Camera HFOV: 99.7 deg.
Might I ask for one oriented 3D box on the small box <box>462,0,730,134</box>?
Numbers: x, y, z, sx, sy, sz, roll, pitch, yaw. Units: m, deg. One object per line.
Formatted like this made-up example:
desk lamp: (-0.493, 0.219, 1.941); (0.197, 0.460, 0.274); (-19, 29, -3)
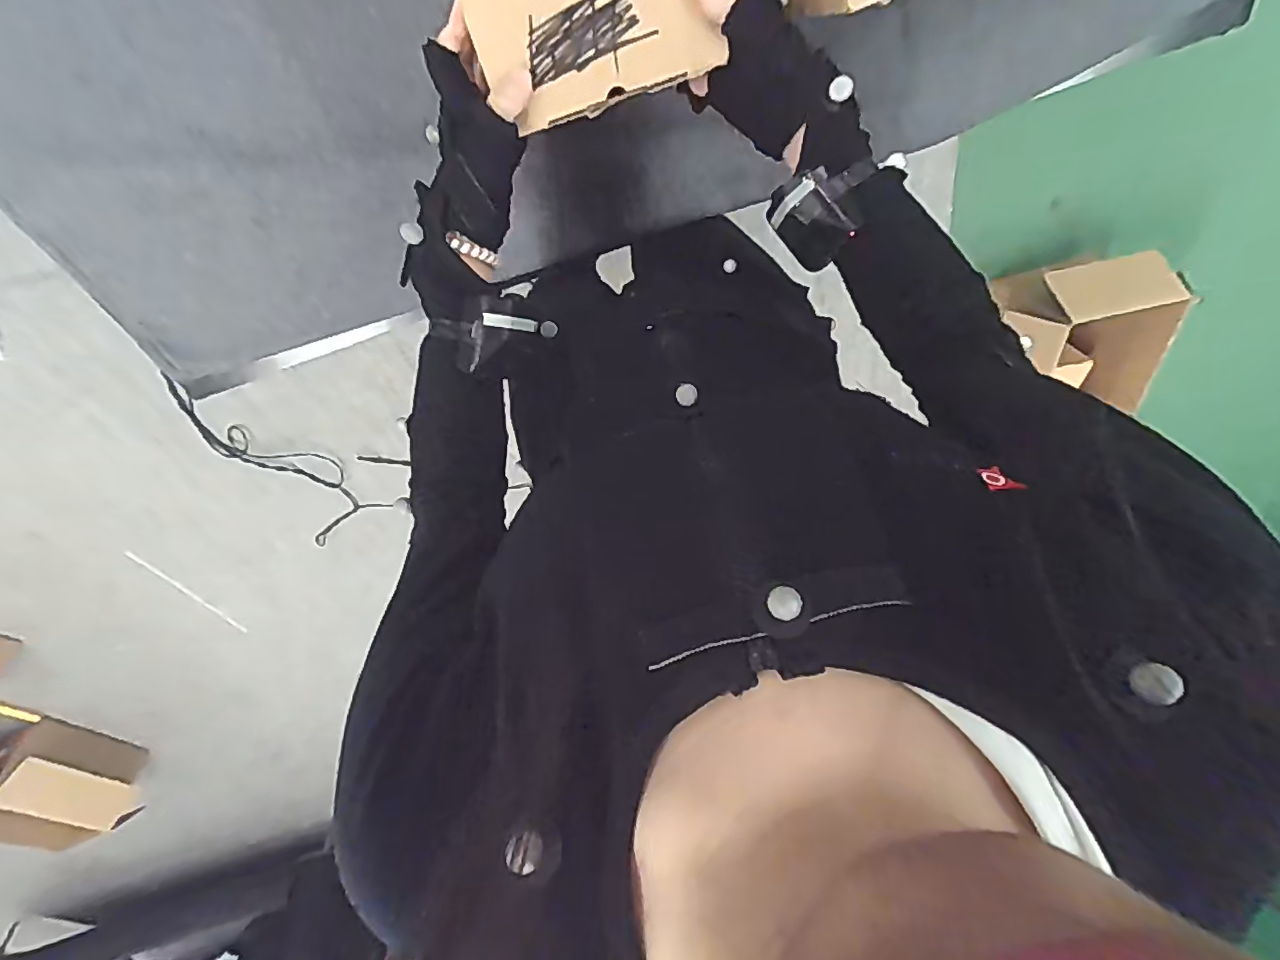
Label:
small box: (-0.048, -0.379, 0.383); (0.168, 0.176, 0.179); (-18, 129, 2)

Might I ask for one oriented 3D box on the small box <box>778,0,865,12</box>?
small box: (0.181, -0.456, 0.366); (0.168, 0.176, 0.179); (-18, 130, 5)
